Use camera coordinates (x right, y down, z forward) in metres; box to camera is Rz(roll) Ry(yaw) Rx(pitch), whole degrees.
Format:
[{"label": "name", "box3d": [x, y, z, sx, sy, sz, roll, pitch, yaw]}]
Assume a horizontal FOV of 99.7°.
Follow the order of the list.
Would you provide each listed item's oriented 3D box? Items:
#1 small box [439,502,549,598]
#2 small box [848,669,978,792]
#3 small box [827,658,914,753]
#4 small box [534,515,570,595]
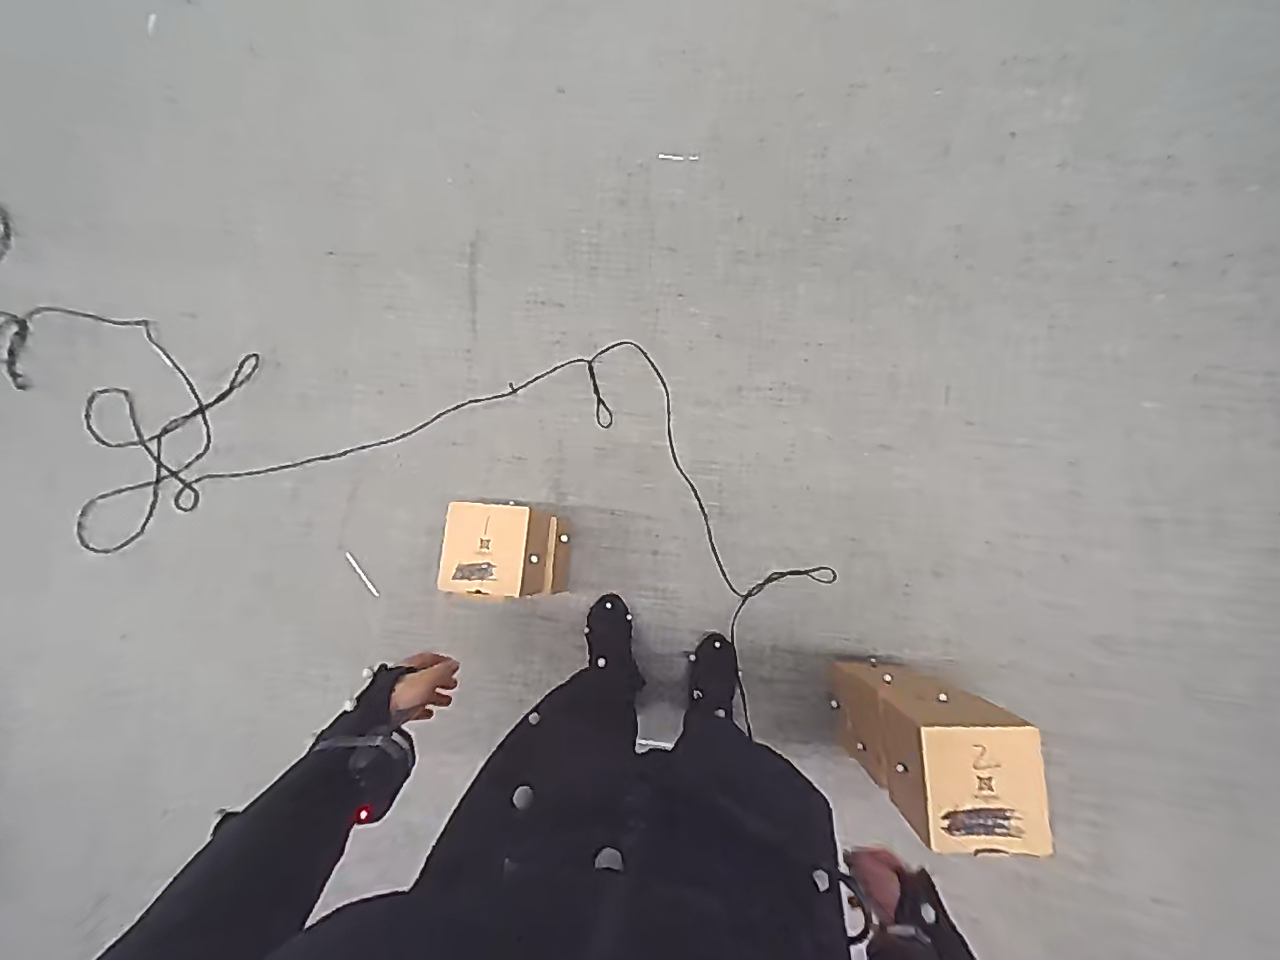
[{"label": "small box", "box3d": [-0.295, 0.146, 1.127, 0.168, 0.176, 0.179, 4, 81, 5]}, {"label": "small box", "box3d": [0.504, 0.464, 1.026, 0.179, 0.176, 0.168, 1, 84, 3]}, {"label": "small box", "box3d": [0.517, 0.494, 1.186, 0.179, 0.176, 0.168, 4, 83, 5]}, {"label": "small box", "box3d": [-0.266, 0.174, 1.287, 0.168, 0.176, 0.179, 3, 82, 6]}]
